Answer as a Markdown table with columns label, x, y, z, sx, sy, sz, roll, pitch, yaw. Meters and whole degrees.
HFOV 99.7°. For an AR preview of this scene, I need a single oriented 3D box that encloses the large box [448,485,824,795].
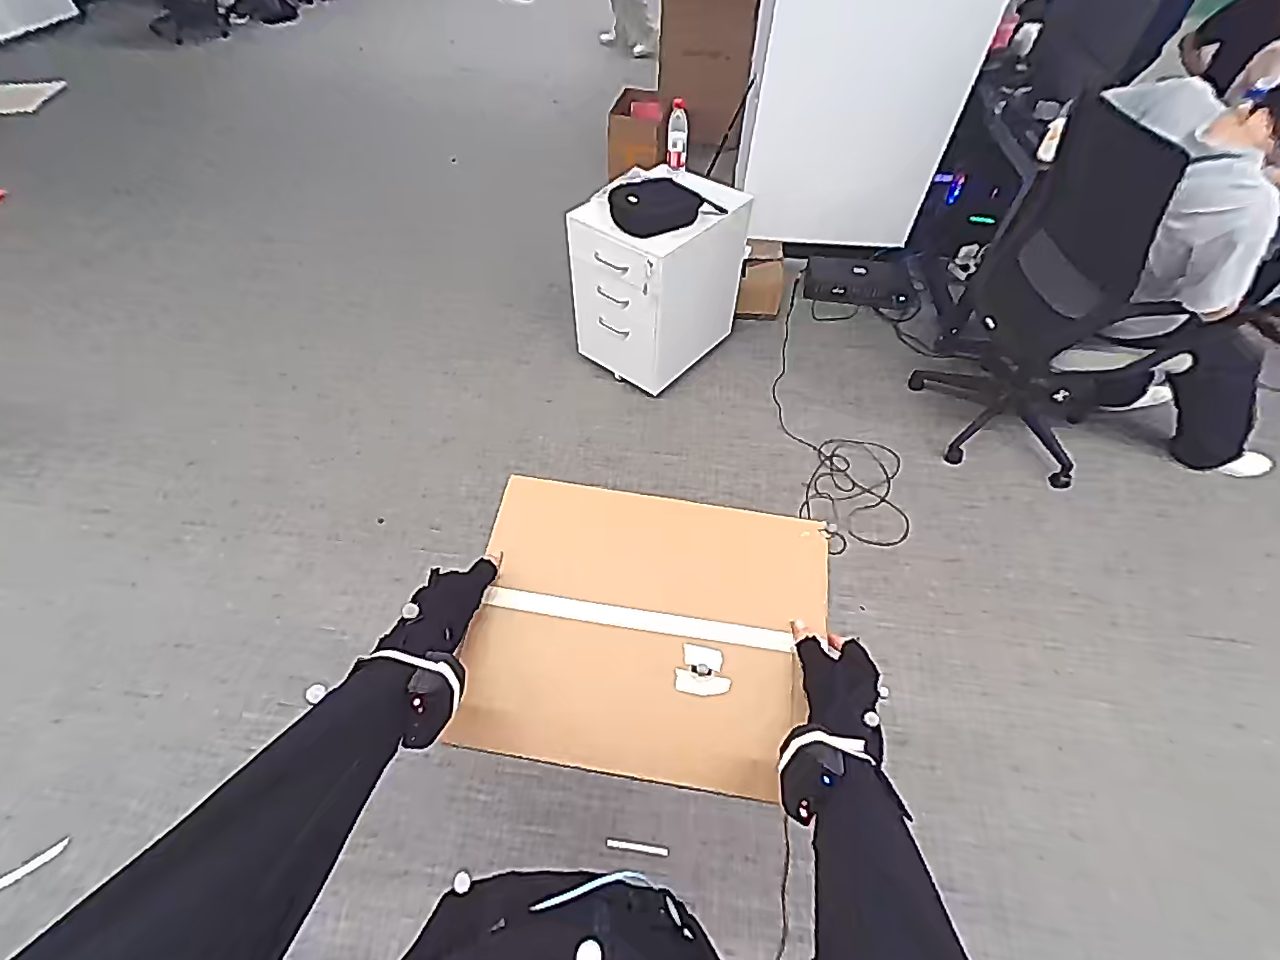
| label | x | y | z | sx | sy | sz | roll | pitch | yaw |
| --- | --- | --- | --- | --- | --- | --- | --- | --- | --- |
| large box | 0.006 | 0.233 | 0.759 | 0.408 | 0.320 | 0.320 | 8 | 63 | 2 |
